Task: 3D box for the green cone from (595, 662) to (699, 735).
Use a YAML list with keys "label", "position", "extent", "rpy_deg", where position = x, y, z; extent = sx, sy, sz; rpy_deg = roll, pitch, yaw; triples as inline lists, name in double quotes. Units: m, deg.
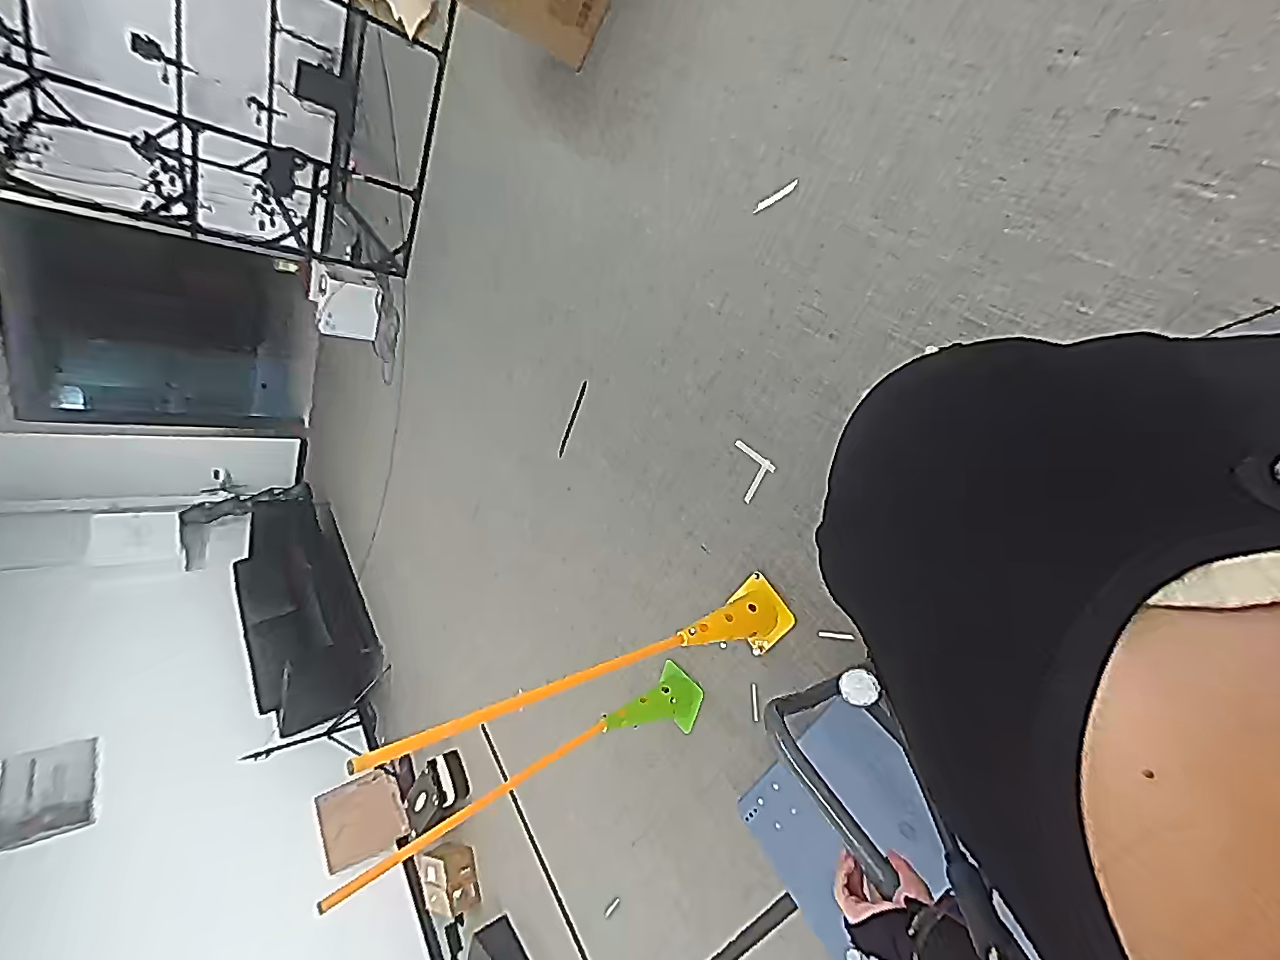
- label: "green cone"
  position: [0.000, 0.796, 1.862]
  extent: [0.200, 0.368, 0.202]
  rpy_deg: [32, 113, 43]
